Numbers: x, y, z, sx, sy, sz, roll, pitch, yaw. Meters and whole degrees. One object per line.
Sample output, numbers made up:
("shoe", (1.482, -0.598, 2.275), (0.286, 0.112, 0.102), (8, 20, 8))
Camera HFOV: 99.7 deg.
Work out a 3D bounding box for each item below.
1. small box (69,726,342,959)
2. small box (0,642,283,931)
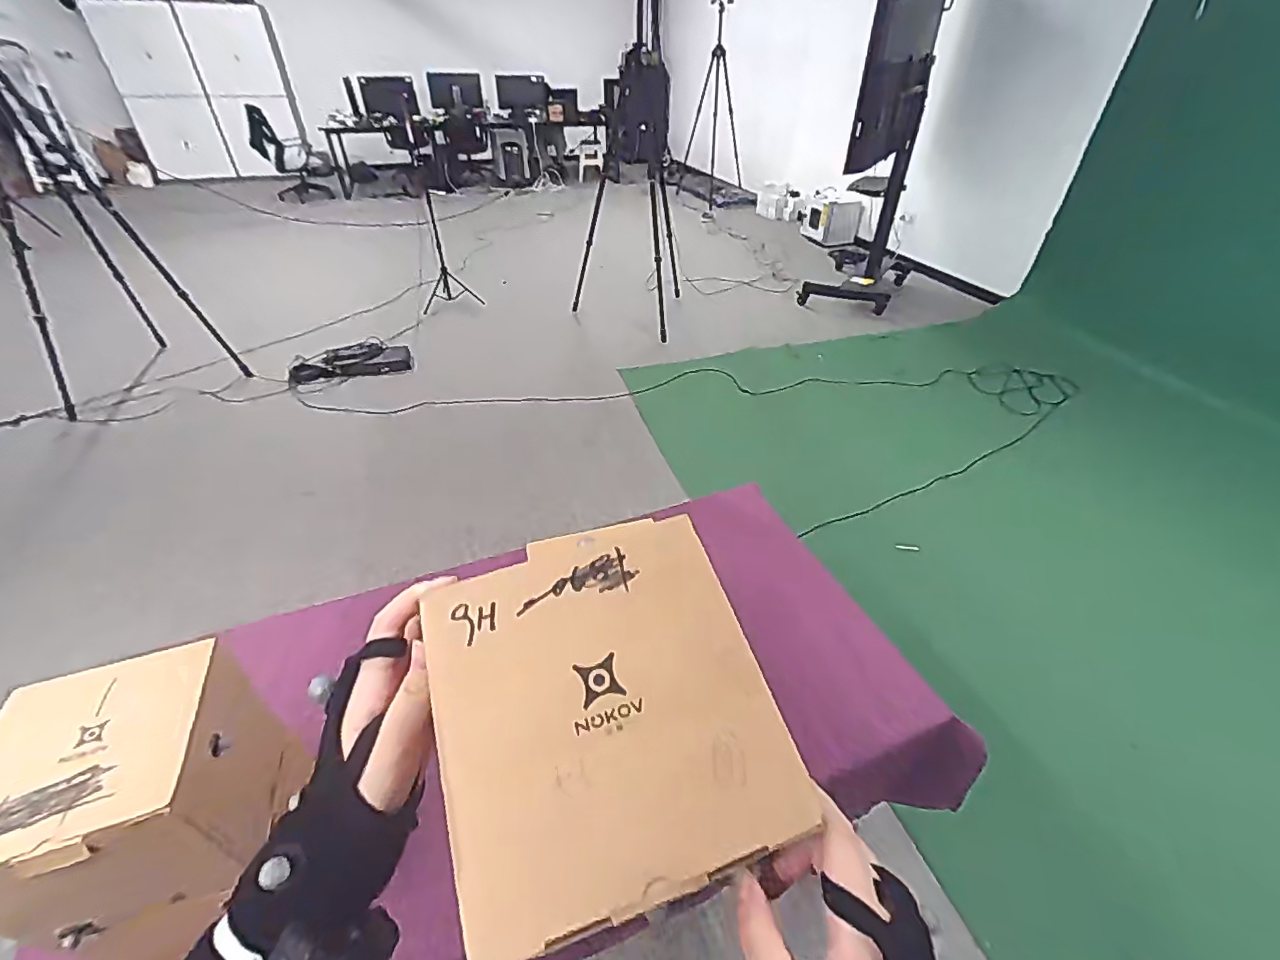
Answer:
("small box", (-0.474, 0.430, 0.630), (0.179, 0.176, 0.168), (-13, 40, -16))
("small box", (-0.479, 0.299, 0.529), (0.168, 0.176, 0.179), (-14, 39, -17))
